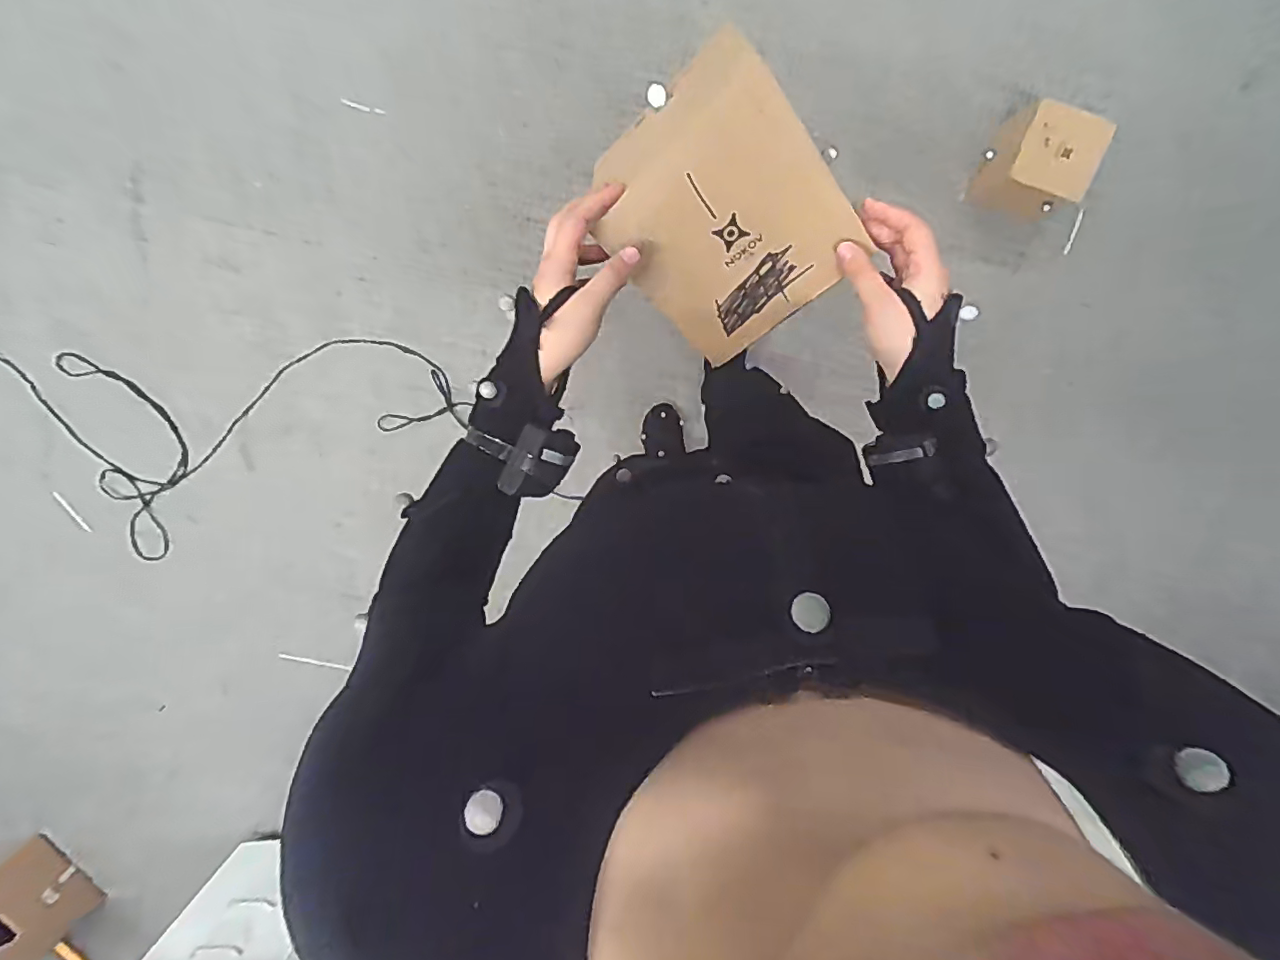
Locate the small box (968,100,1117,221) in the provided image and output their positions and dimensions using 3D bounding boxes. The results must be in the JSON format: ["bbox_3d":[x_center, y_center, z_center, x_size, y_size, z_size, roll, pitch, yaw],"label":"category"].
[{"bbox_3d":[0.898,-0.710,1.226,0.179,0.176,0.168,18,102,-3],"label":"small box"}]
